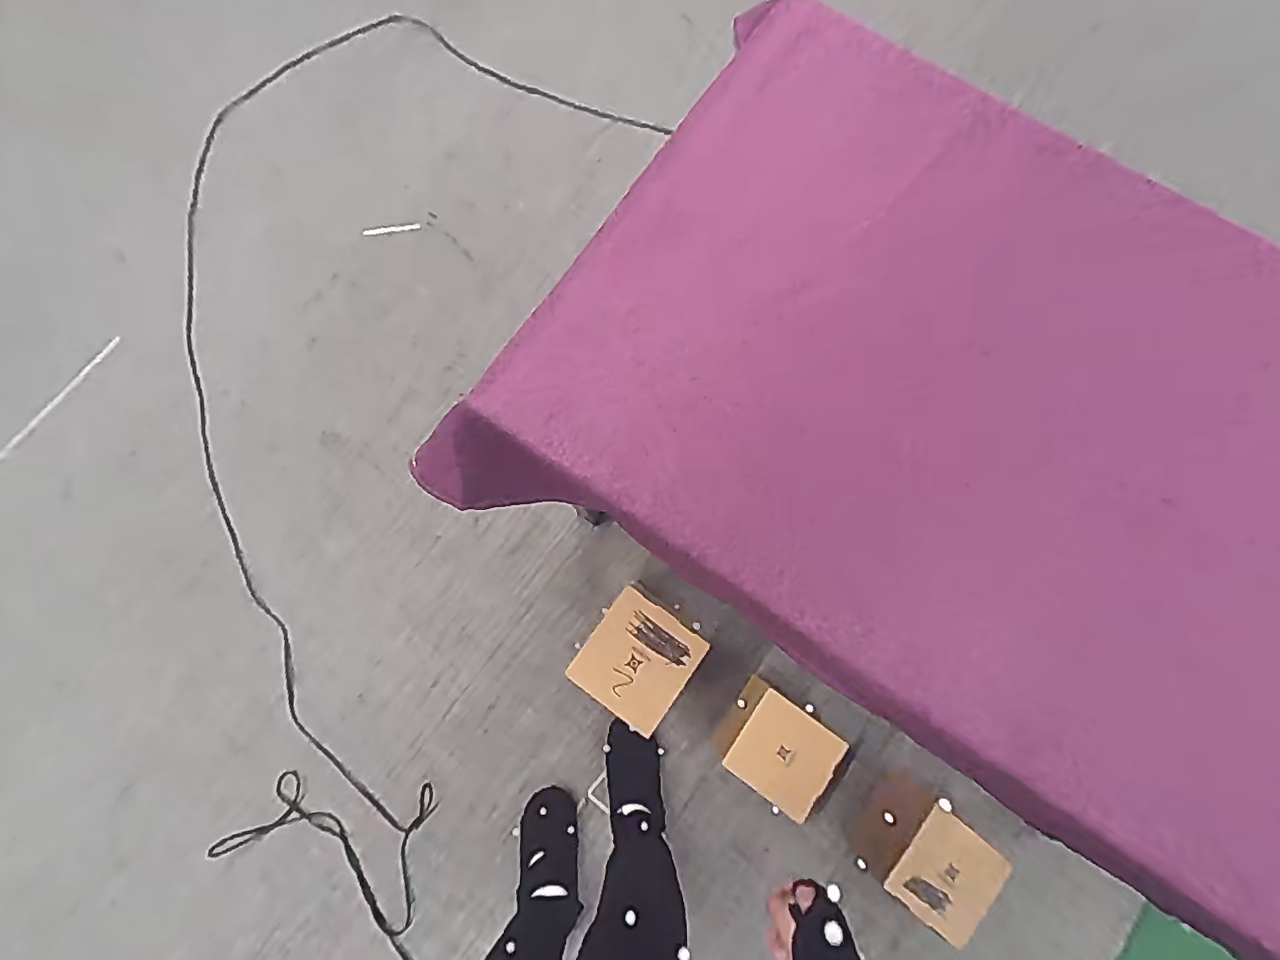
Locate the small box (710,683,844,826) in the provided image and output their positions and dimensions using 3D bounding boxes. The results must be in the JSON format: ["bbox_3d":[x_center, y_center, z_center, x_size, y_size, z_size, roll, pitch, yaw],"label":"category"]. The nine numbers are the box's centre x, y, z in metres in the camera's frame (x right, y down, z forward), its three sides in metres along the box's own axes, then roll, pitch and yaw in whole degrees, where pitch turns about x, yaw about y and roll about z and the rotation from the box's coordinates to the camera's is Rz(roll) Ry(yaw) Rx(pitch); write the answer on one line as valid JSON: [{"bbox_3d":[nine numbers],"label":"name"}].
[{"bbox_3d":[0.256,0.519,1.059,0.179,0.176,0.168,35,81,7],"label":"small box"}]
